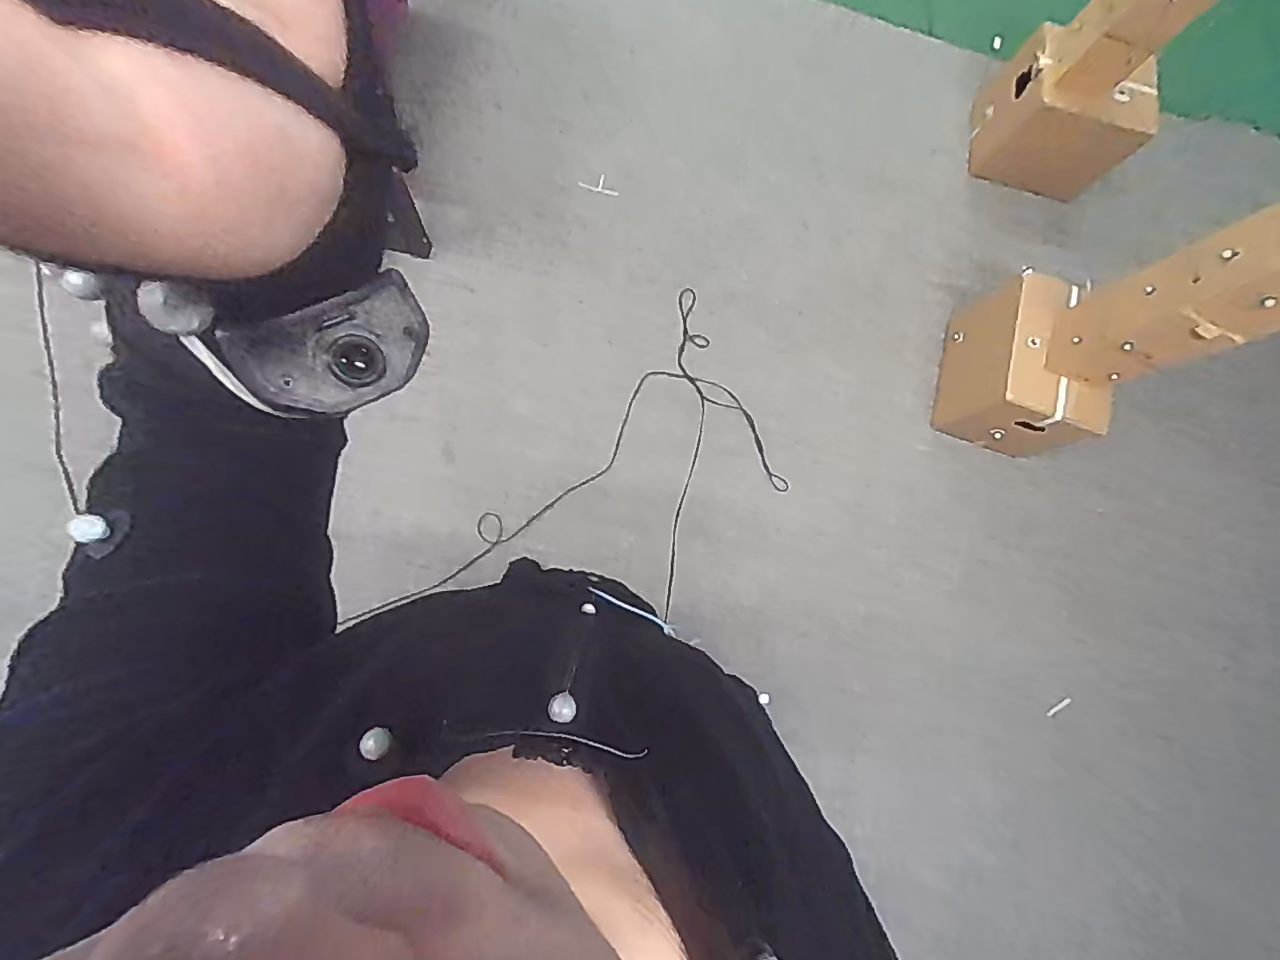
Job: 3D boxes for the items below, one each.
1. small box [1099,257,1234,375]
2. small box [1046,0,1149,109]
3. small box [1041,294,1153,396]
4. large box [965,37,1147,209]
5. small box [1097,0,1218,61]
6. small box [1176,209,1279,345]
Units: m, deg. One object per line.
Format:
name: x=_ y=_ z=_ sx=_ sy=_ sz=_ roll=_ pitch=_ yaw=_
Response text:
small box: x=1.222 y=-0.370 z=1.256 sx=0.168 sy=0.176 sz=0.179 roll=23 pitch=76 yaw=-6
small box: x=1.351 y=-1.252 z=1.604 sx=0.179 sy=0.176 sz=0.168 roll=14 pitch=78 yaw=-7
small box: x=1.199 y=-0.344 z=1.416 sx=0.168 sy=0.176 sz=0.179 roll=22 pitch=77 yaw=-6
large box: x=1.402 y=-1.201 z=1.853 sx=0.408 sy=0.320 sz=0.320 roll=12 pitch=78 yaw=-7
small box: x=1.371 y=-1.274 z=1.441 sx=0.179 sy=0.176 sz=0.168 roll=14 pitch=78 yaw=-6
small box: x=1.254 y=-0.399 z=1.097 sx=0.179 sy=0.176 sz=0.168 roll=22 pitch=78 yaw=-5
